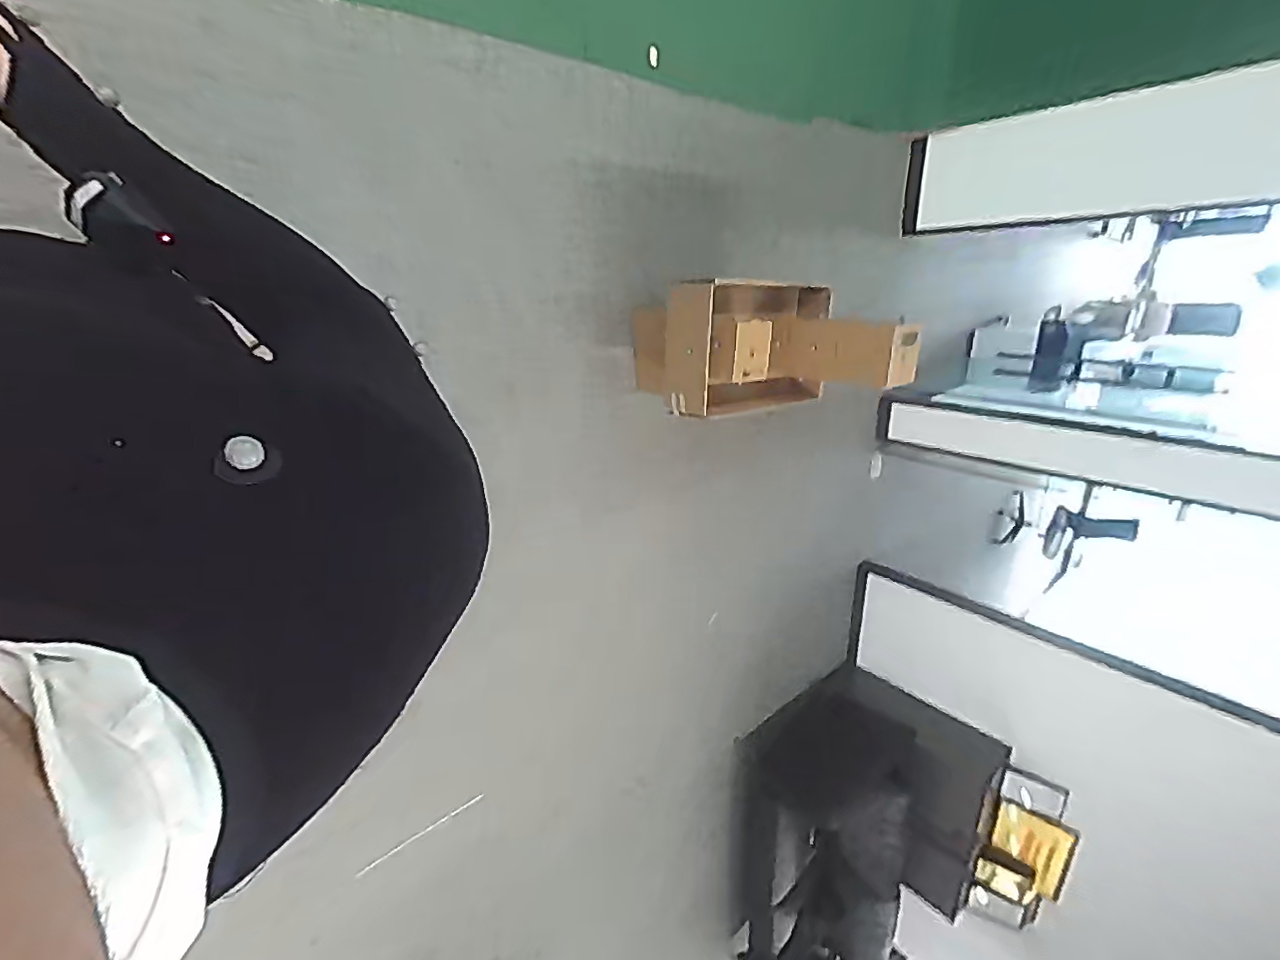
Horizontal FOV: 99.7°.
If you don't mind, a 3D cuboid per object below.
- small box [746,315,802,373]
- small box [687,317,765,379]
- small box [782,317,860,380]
[{"bbox_3d":[0.465,-0.466,1.837,0.168,0.176,0.179,-14,115,-38],"label":"small box"},{"bbox_3d":[0.261,-0.410,1.667,0.168,0.176,0.179,-13,113,-40],"label":"small box"},{"bbox_3d":[0.568,-0.422,1.717,0.168,0.176,0.179,-16,115,-37],"label":"small box"}]
